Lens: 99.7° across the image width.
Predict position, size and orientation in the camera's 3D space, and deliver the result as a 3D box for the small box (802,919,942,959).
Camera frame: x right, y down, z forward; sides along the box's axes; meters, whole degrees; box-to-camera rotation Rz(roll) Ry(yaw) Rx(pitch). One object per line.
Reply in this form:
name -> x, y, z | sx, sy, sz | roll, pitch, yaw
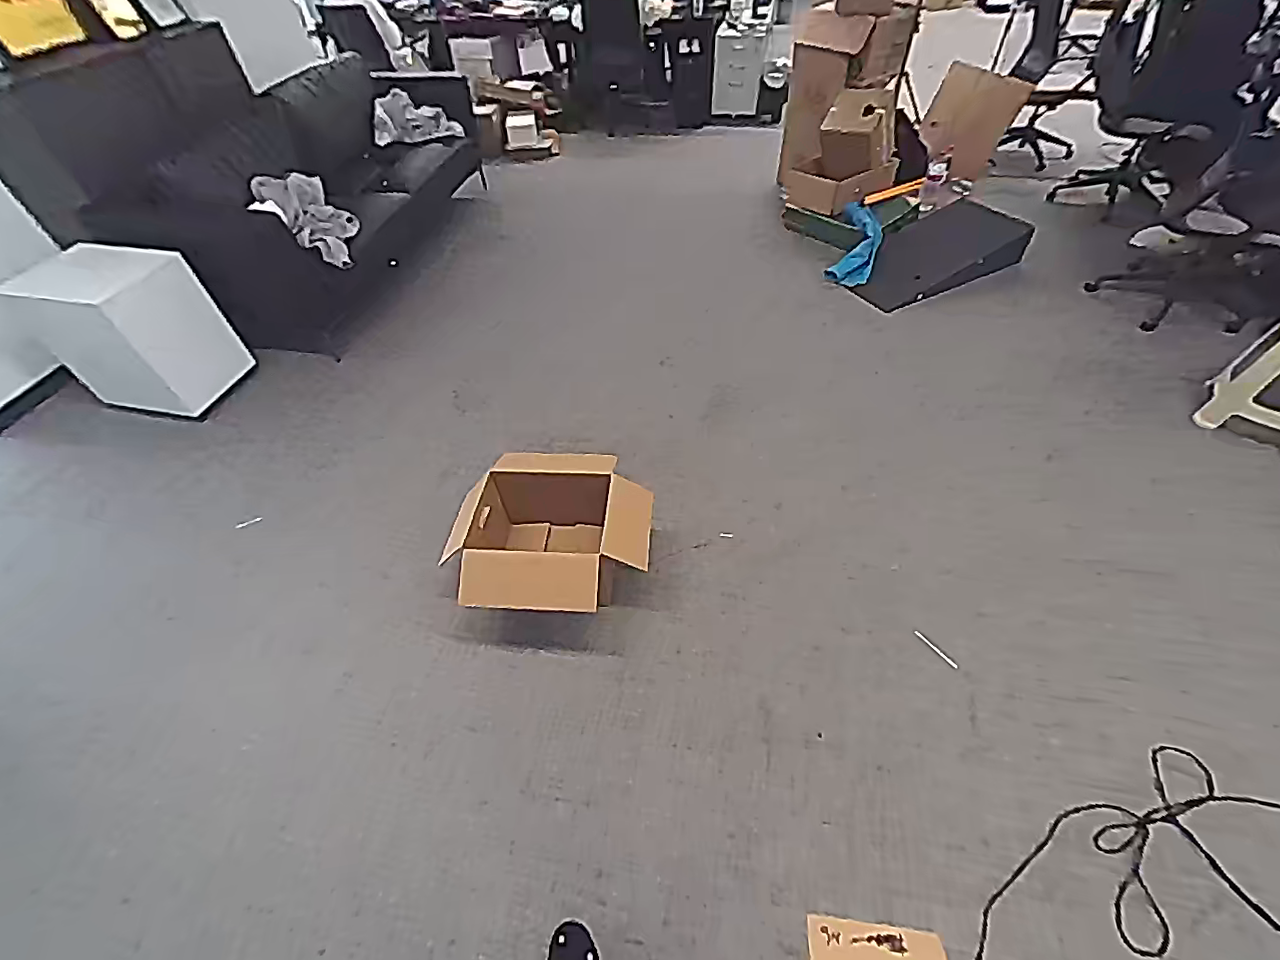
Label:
small box -> 0.280, 0.680, 0.635 | 0.168, 0.176, 0.179 | -2, 13, 15
